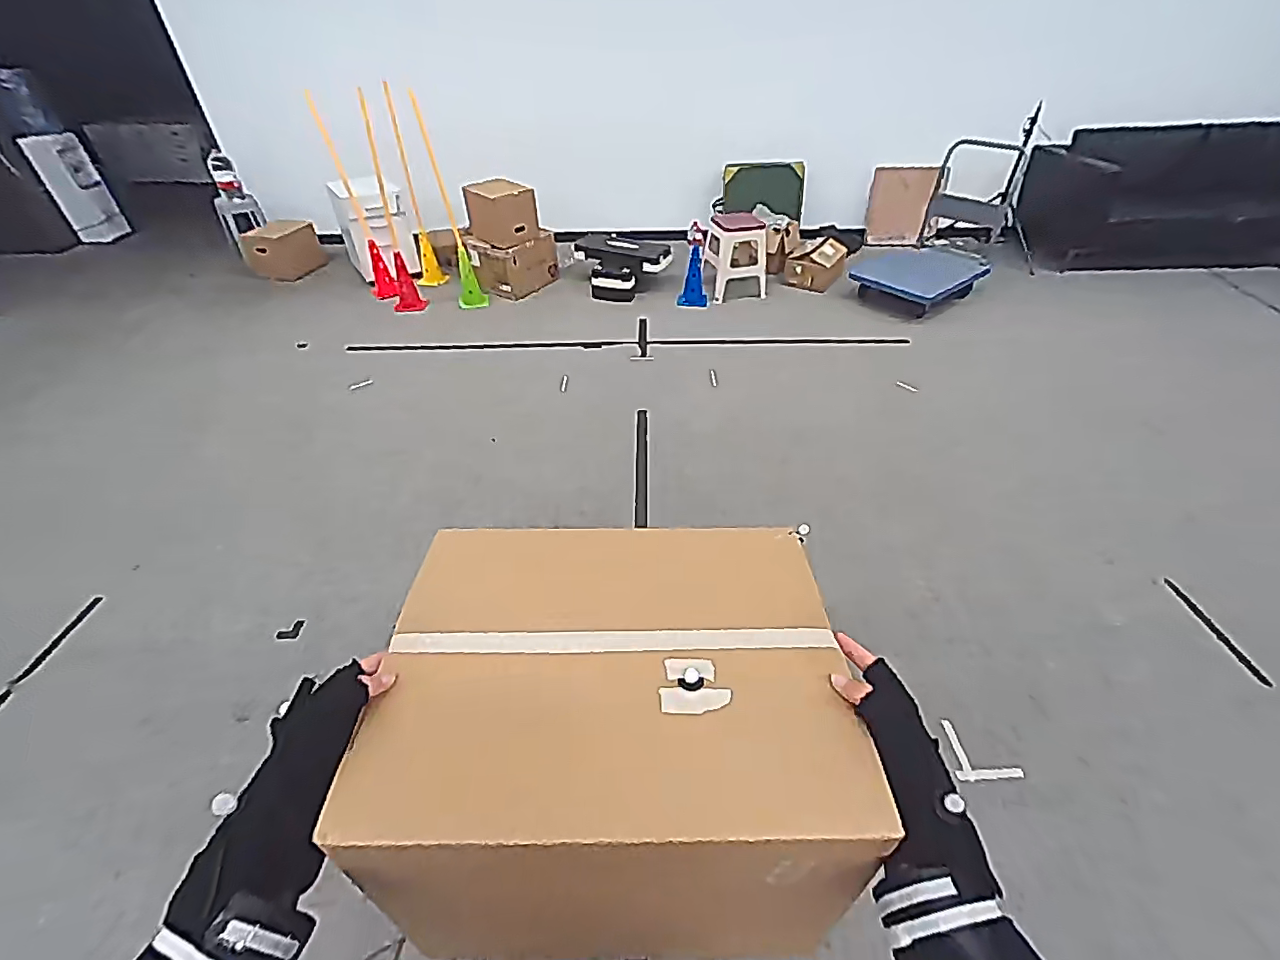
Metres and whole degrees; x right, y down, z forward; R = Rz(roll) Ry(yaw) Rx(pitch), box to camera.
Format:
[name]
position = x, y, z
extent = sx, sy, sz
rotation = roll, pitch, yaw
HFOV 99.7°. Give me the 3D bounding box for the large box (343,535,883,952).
[large box]
position = -0.022, 0.277, 0.597
extent = 0.408, 0.320, 0.320
rotation = 0, 37, 0
